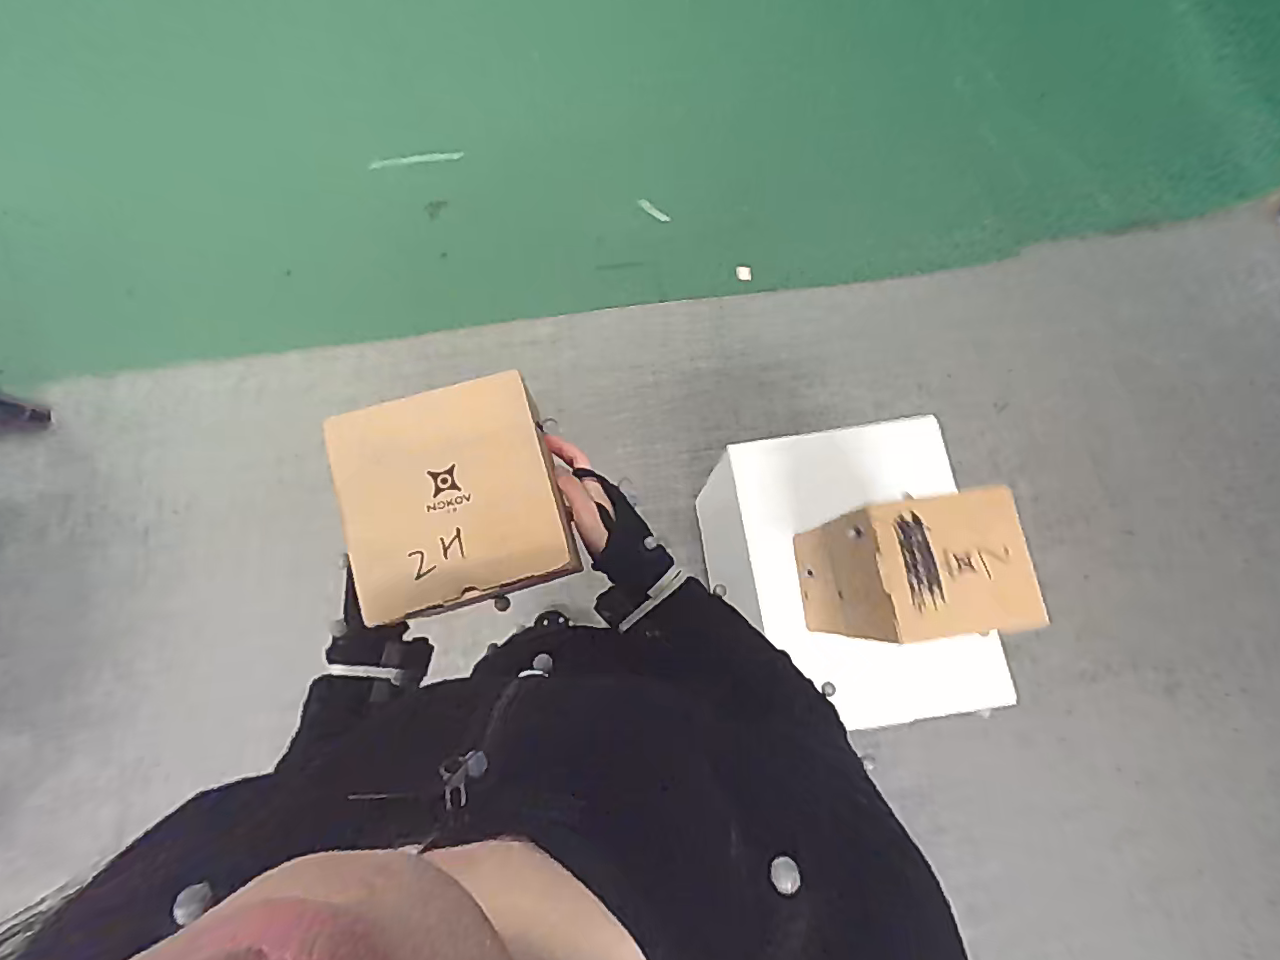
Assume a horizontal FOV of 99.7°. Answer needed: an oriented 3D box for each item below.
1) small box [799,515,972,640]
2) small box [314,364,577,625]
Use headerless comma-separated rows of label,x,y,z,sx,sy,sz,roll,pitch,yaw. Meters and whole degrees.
small box,0.369,0.153,0.845,0.179,0.176,0.168,-5,77,-3
small box,-0.161,0.022,0.497,0.168,0.176,0.179,-16,81,-6
